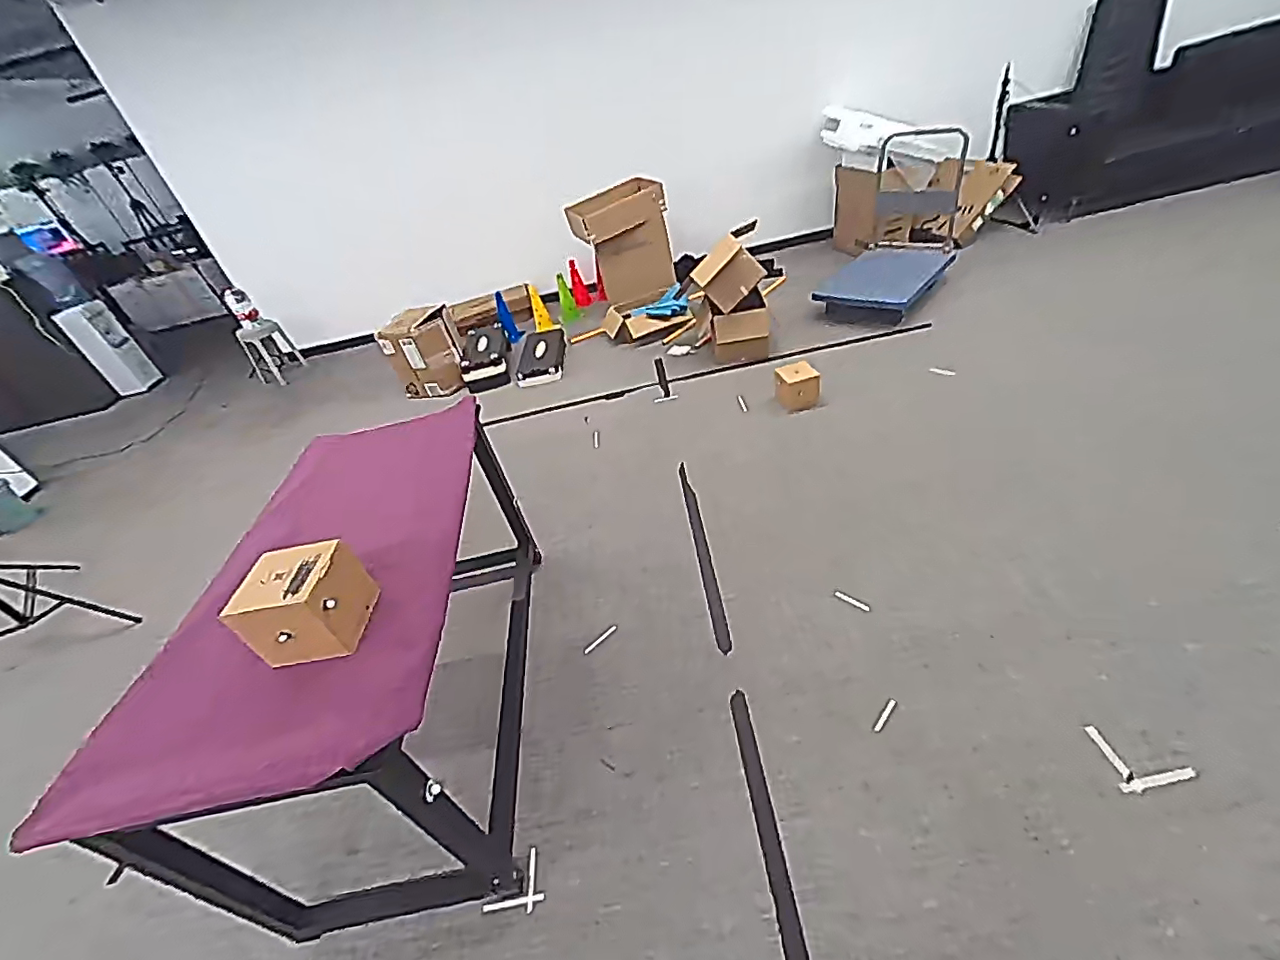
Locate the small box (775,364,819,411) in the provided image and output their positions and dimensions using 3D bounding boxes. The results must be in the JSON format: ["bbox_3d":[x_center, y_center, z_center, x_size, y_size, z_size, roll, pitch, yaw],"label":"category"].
[{"bbox_3d":[0.805,-0.467,2.764,0.168,0.176,0.179,-16,37,-3],"label":"small box"}]
